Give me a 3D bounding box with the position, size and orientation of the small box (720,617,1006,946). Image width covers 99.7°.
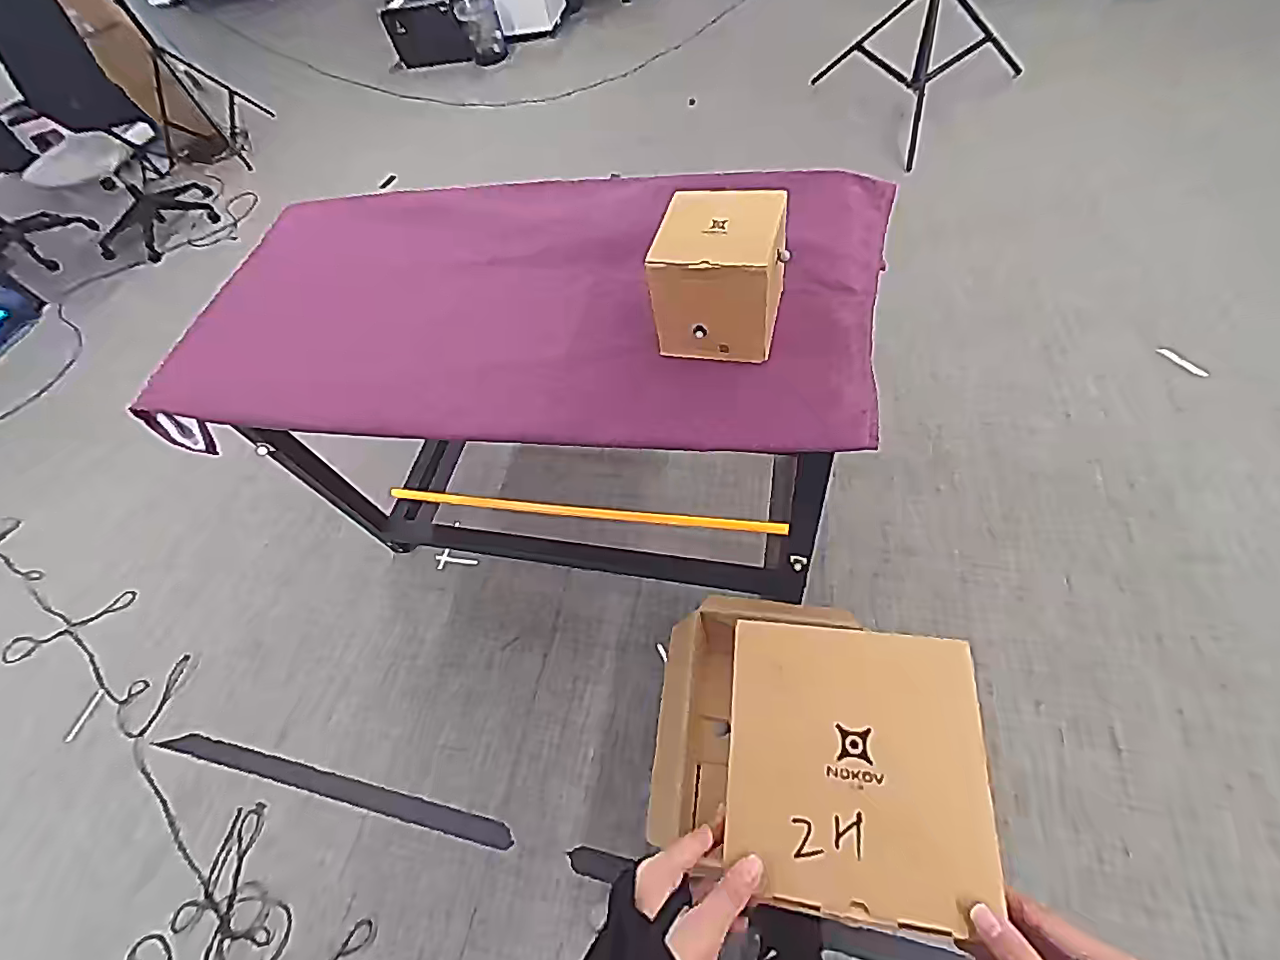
[{"bbox_3d":[0.156,0.224,0.432,0.168,0.176,0.179,1,62,14],"label":"small box"}]

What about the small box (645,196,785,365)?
[{"bbox_3d":[0.118,-0.298,0.810,0.168,0.176,0.179,8,59,17],"label":"small box"}]
